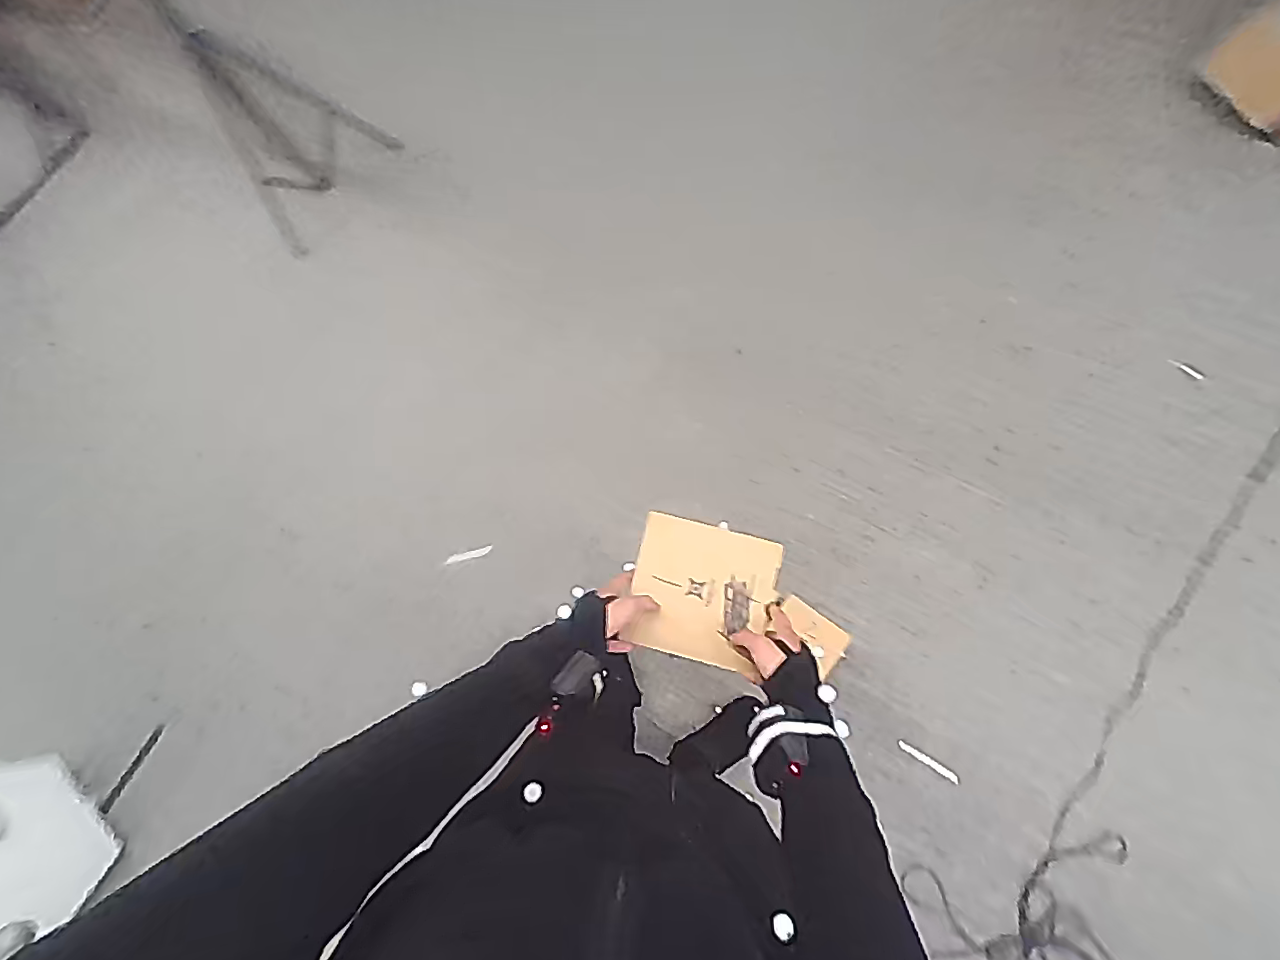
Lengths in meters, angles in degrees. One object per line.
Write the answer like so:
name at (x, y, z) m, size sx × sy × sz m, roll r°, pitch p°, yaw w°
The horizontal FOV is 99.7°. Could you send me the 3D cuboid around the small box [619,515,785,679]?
small box at (0.078, 0.156, 0.743) m, size 0.179 × 0.176 × 0.168 m, roll 14°, pitch 79°, yaw 3°
